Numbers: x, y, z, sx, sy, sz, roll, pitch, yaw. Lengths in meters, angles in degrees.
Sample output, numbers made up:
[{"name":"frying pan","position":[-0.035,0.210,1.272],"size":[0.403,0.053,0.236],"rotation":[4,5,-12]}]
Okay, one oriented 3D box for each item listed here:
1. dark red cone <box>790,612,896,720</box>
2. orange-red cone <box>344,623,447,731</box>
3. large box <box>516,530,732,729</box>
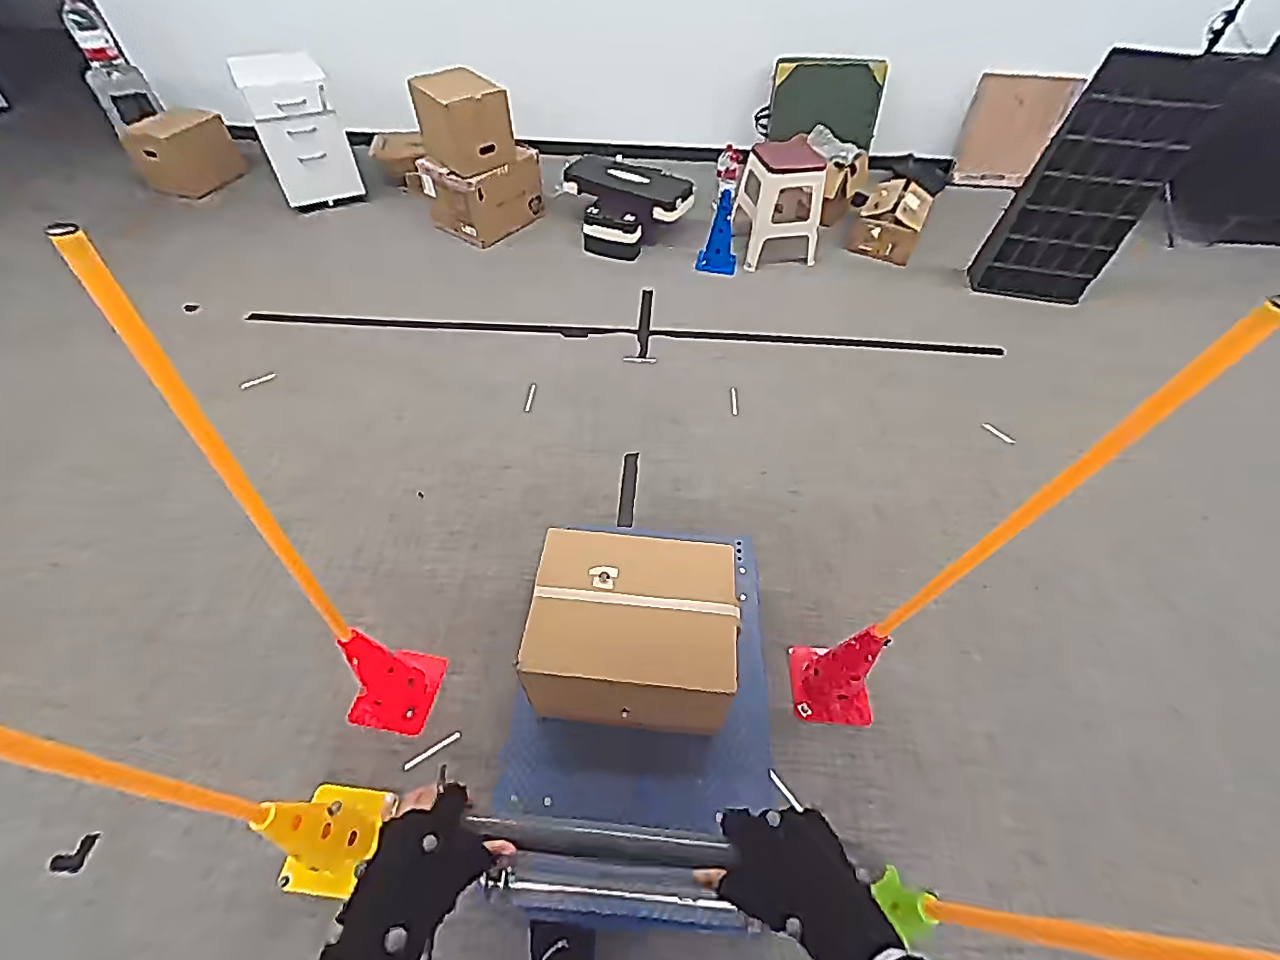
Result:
[{"name":"dark red cone","position":[0.516,0.424,1.305],"size":[0.201,0.394,0.202],"rotation":[5,51,-1]},{"name":"orange-red cone","position":[-0.618,0.428,1.279],"size":[0.198,0.360,0.199],"rotation":[10,50,5]},{"name":"large box","position":[-0.018,0.336,1.192],"size":[0.408,0.320,0.320],"rotation":[6,52,3]}]
